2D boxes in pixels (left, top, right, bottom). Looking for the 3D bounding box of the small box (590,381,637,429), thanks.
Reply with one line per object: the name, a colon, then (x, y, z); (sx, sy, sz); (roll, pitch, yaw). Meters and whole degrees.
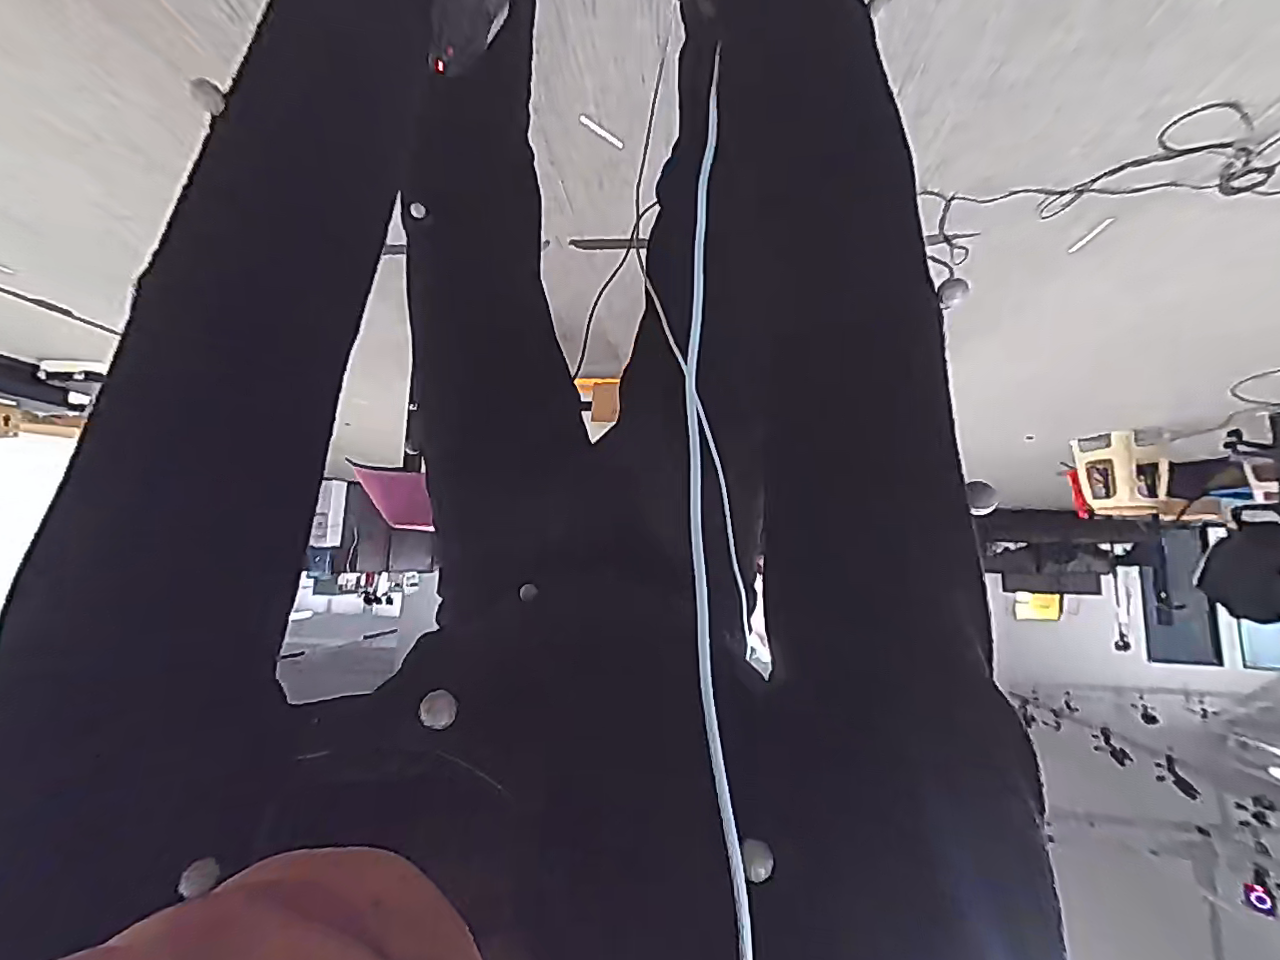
small box: (-0.107, -0.316, 2.292); (0.179, 0.176, 0.168); (3, 173, 9)
